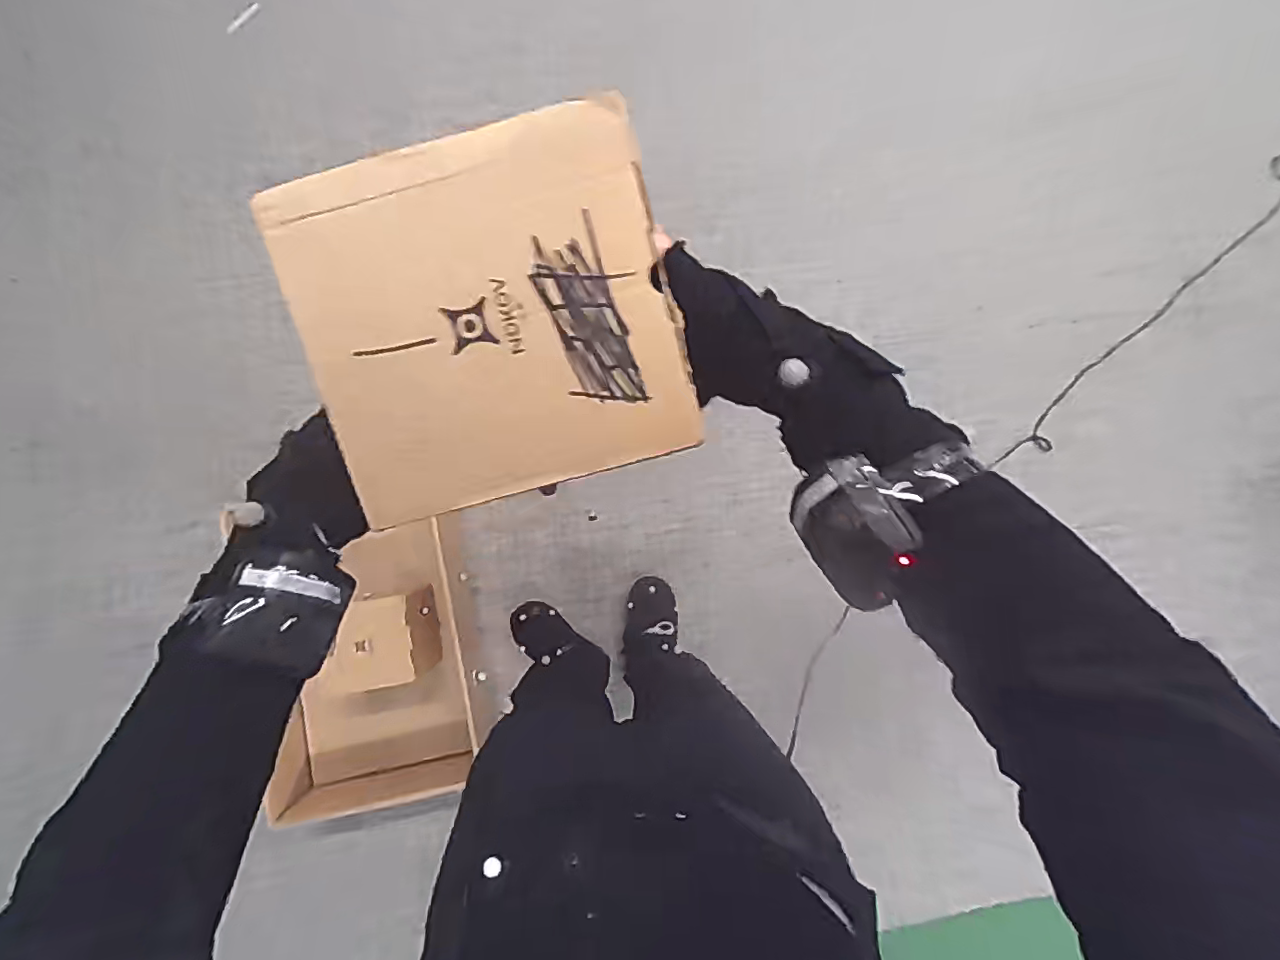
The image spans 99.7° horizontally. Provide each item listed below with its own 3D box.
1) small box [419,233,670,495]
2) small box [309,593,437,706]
[{"bbox_3d":[-0.073,-0.101,0.503,0.168,0.176,0.179,-14,100,0],"label":"small box"},{"bbox_3d":[-0.522,0.330,1.084,0.179,0.176,0.168,-10,85,-3],"label":"small box"}]
